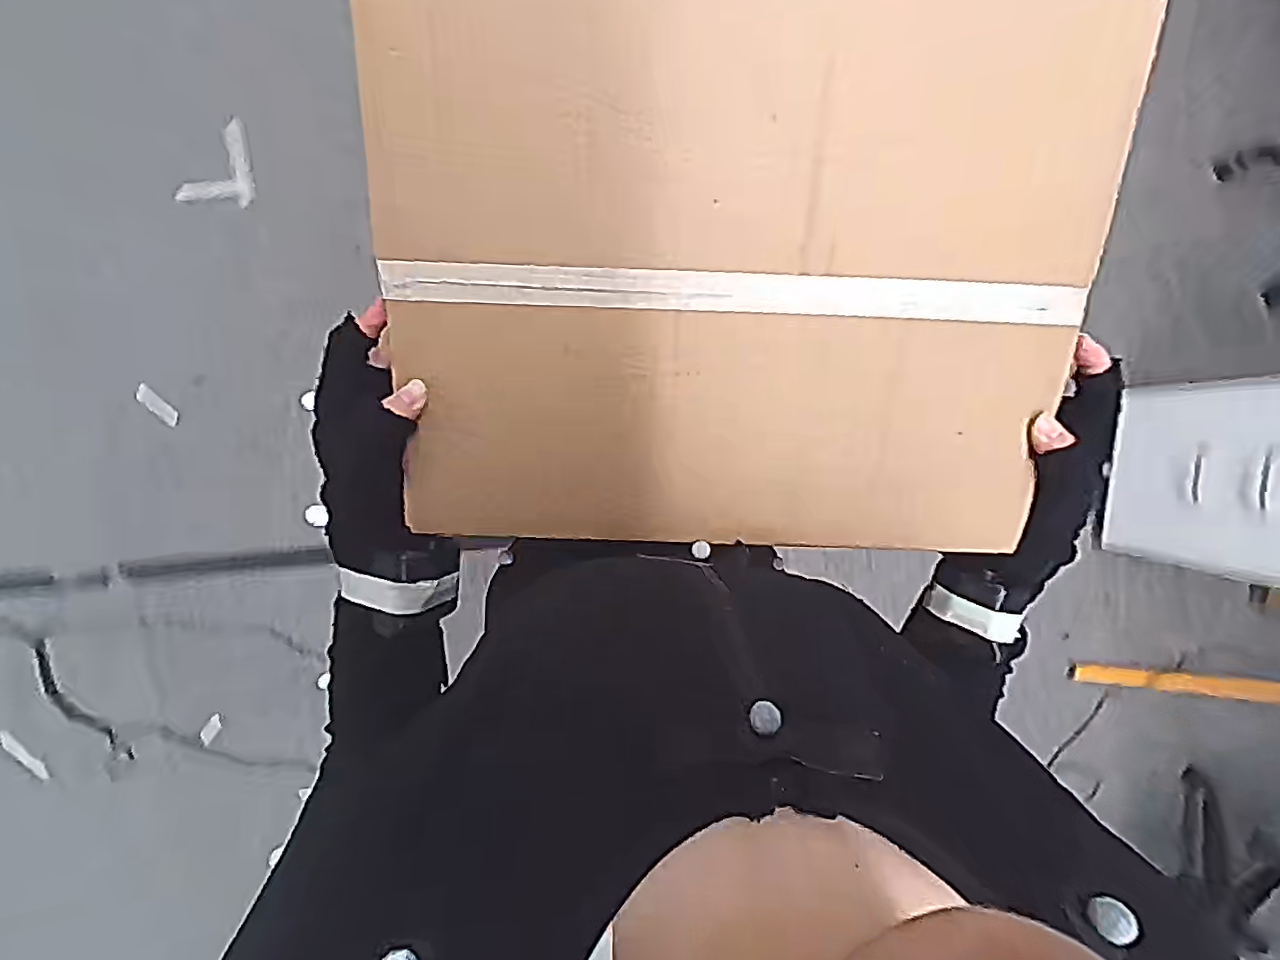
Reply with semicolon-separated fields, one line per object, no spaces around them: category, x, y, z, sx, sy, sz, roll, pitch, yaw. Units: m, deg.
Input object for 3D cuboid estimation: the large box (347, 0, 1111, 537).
large box;0.044;-0.155;0.463;0.408;0.320;0.320;0;109;-1
